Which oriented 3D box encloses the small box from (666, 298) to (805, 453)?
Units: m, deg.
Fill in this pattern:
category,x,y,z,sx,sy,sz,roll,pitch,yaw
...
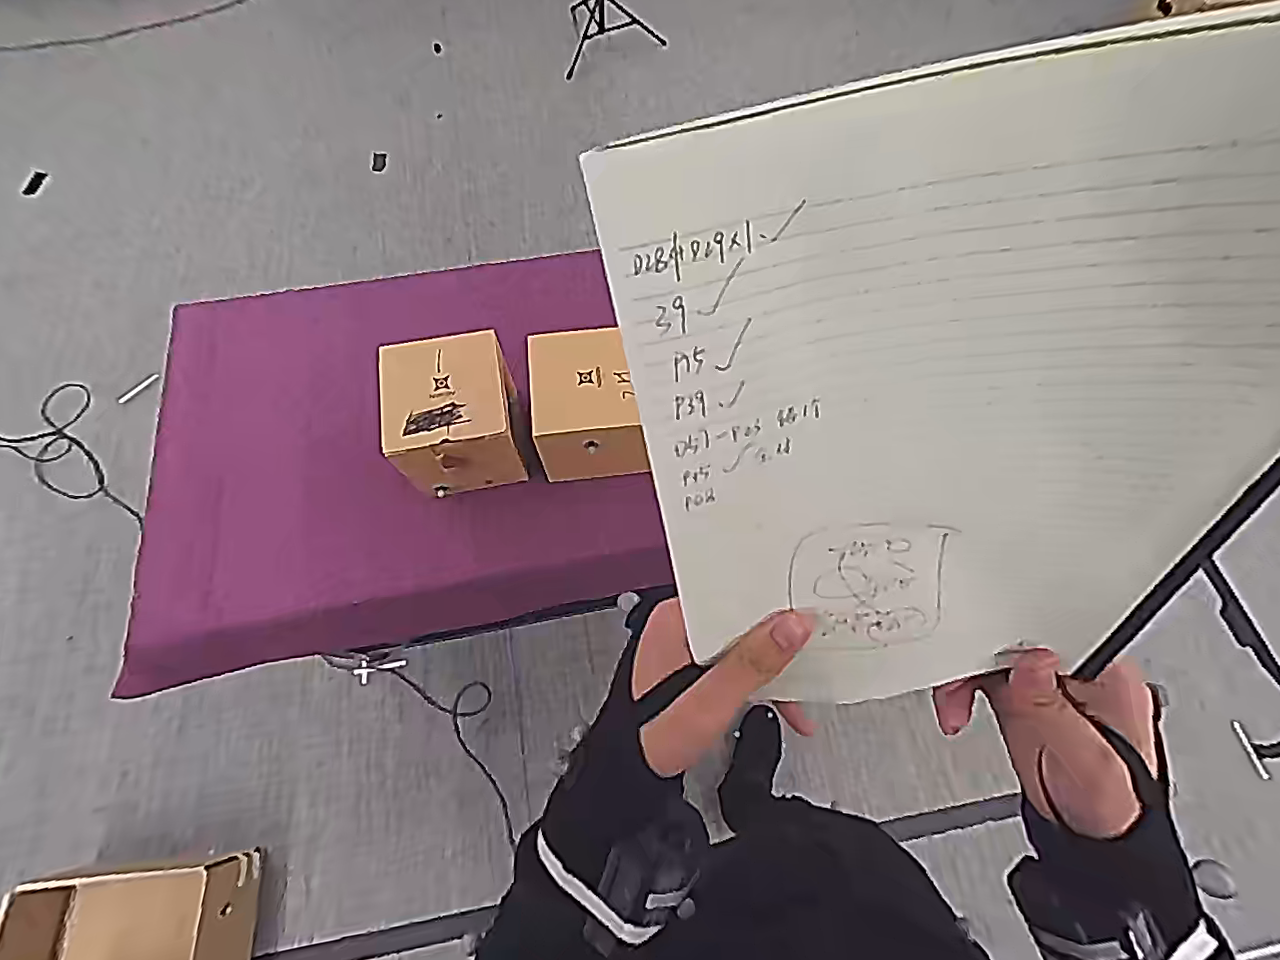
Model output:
category,x,y,z,sx,sy,sz,roll,pitch,yaw
small box,0.137,-0.154,0.850,0.168,0.176,0.179,-8,67,-5
